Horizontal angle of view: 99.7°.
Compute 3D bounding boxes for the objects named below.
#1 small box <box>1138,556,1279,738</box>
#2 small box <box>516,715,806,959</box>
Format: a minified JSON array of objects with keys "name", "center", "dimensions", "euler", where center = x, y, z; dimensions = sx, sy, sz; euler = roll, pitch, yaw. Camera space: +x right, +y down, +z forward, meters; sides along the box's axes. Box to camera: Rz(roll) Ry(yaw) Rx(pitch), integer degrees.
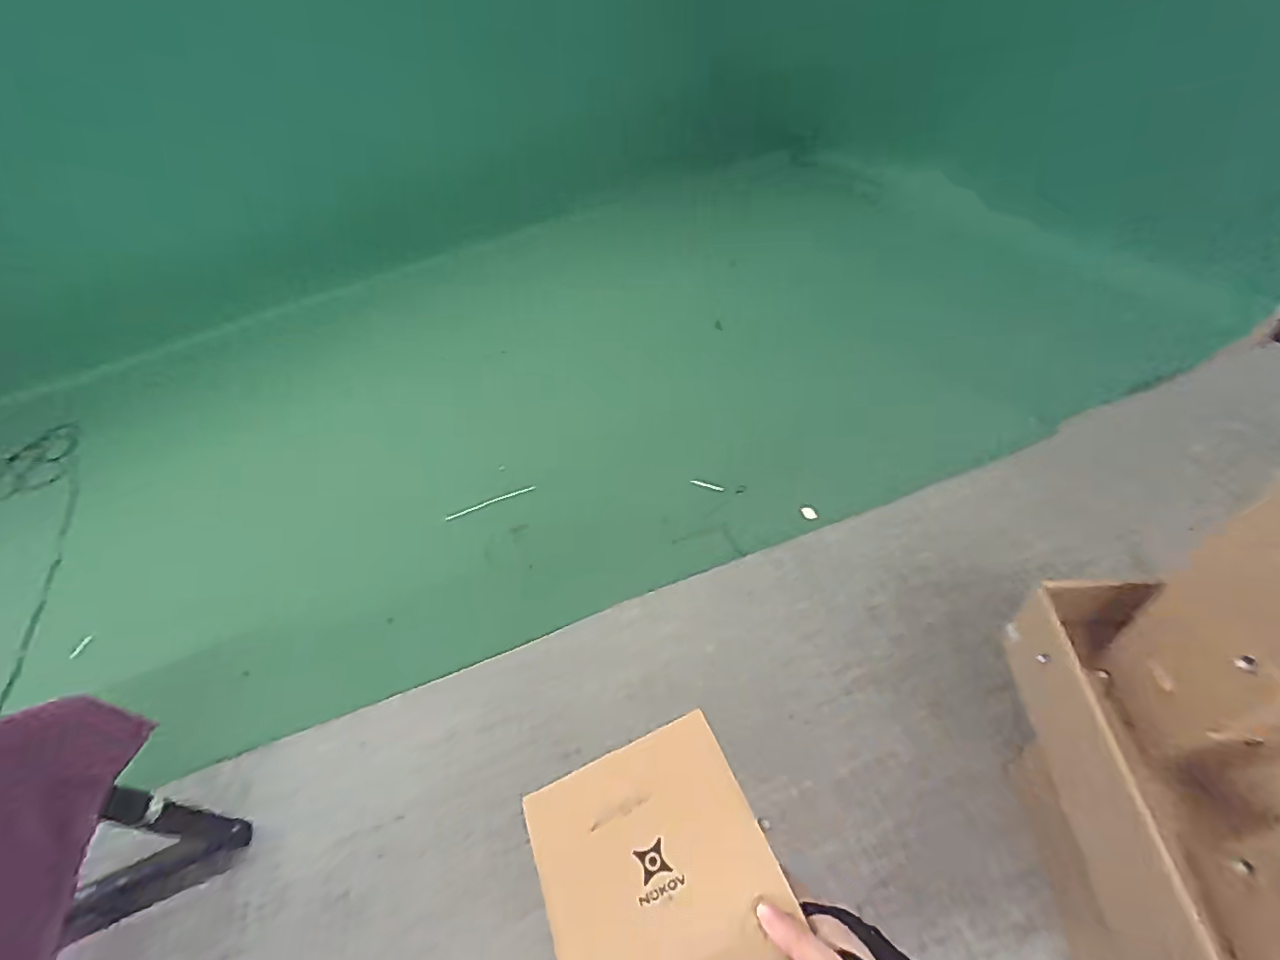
[{"name":"small box","center":[0.800,0.210,0.686],"dimensions":[0.168,0.176,0.179],"euler":[-5,49,10]},{"name":"small box","center":[0.017,0.338,0.455],"dimensions":[0.168,0.176,0.179],"euler":[-22,48,-10]}]
